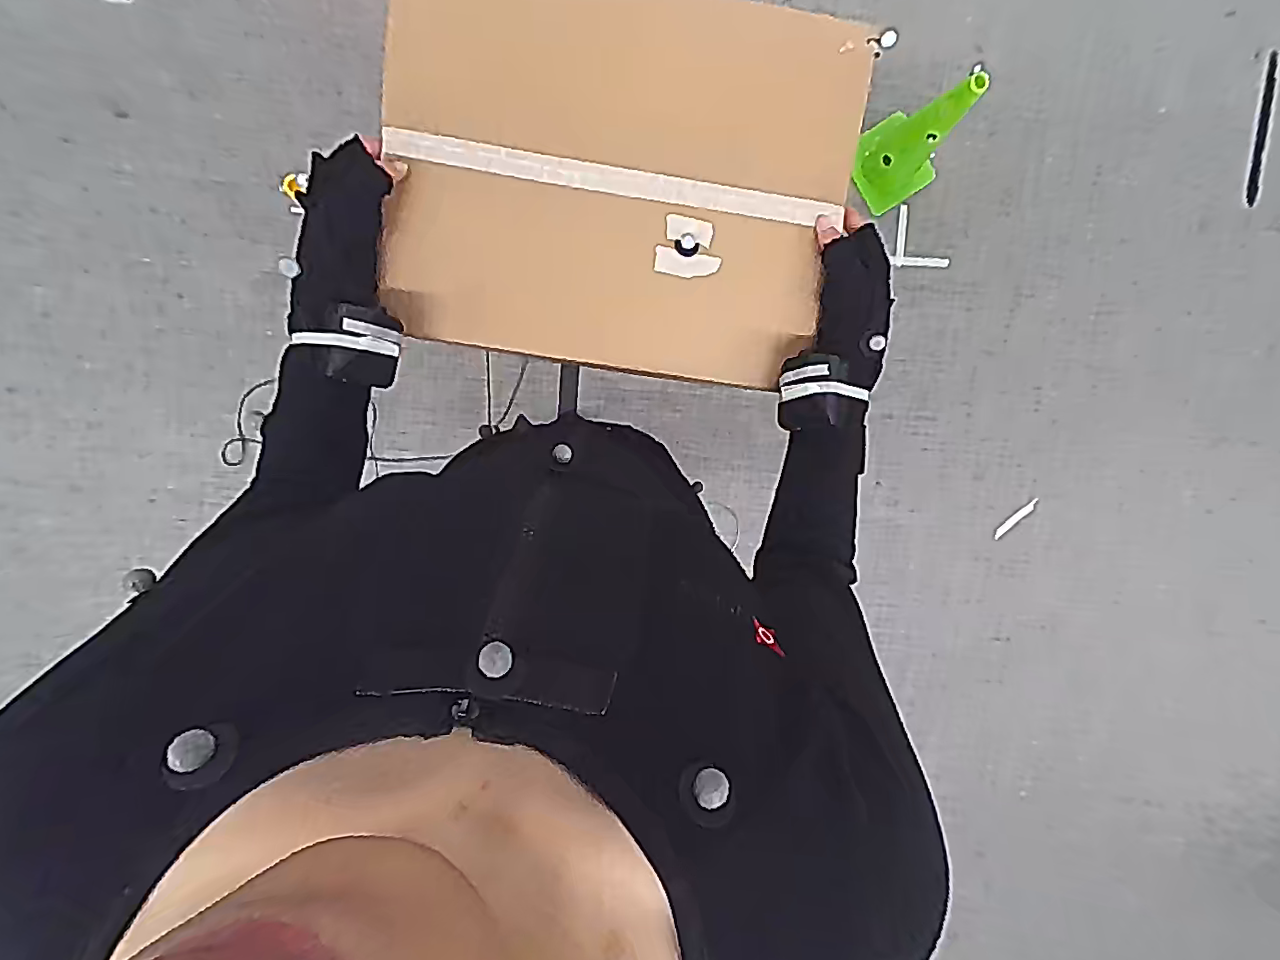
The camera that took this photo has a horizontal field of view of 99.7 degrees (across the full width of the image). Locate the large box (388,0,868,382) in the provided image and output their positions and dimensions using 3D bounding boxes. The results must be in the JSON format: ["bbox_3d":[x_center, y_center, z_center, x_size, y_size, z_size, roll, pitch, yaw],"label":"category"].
[{"bbox_3d":[-0.026,-0.293,0.625,0.408,0.320,0.320,7,101,-5],"label":"large box"}]

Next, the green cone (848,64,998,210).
[{"bbox_3d":[0.673,-0.821,1.250,0.202,0.368,0.200,-34,99,-1],"label":"green cone"}]
